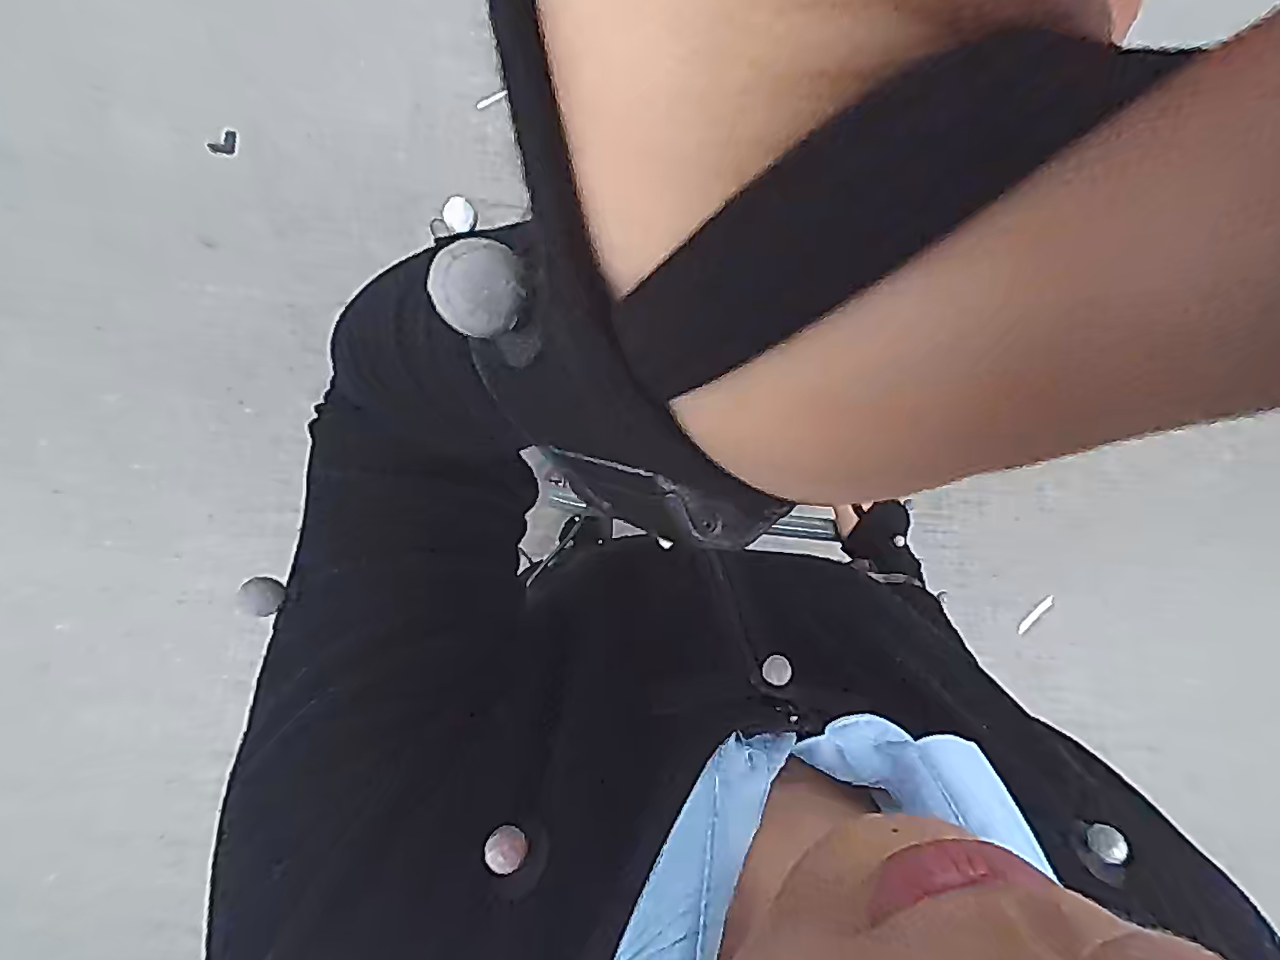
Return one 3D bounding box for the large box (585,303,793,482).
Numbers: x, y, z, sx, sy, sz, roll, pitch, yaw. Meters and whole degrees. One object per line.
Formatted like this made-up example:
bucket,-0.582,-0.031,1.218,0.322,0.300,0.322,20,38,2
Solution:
large box,0.087,-0.173,1.224,0.408,0.320,0.320,6,87,-6
